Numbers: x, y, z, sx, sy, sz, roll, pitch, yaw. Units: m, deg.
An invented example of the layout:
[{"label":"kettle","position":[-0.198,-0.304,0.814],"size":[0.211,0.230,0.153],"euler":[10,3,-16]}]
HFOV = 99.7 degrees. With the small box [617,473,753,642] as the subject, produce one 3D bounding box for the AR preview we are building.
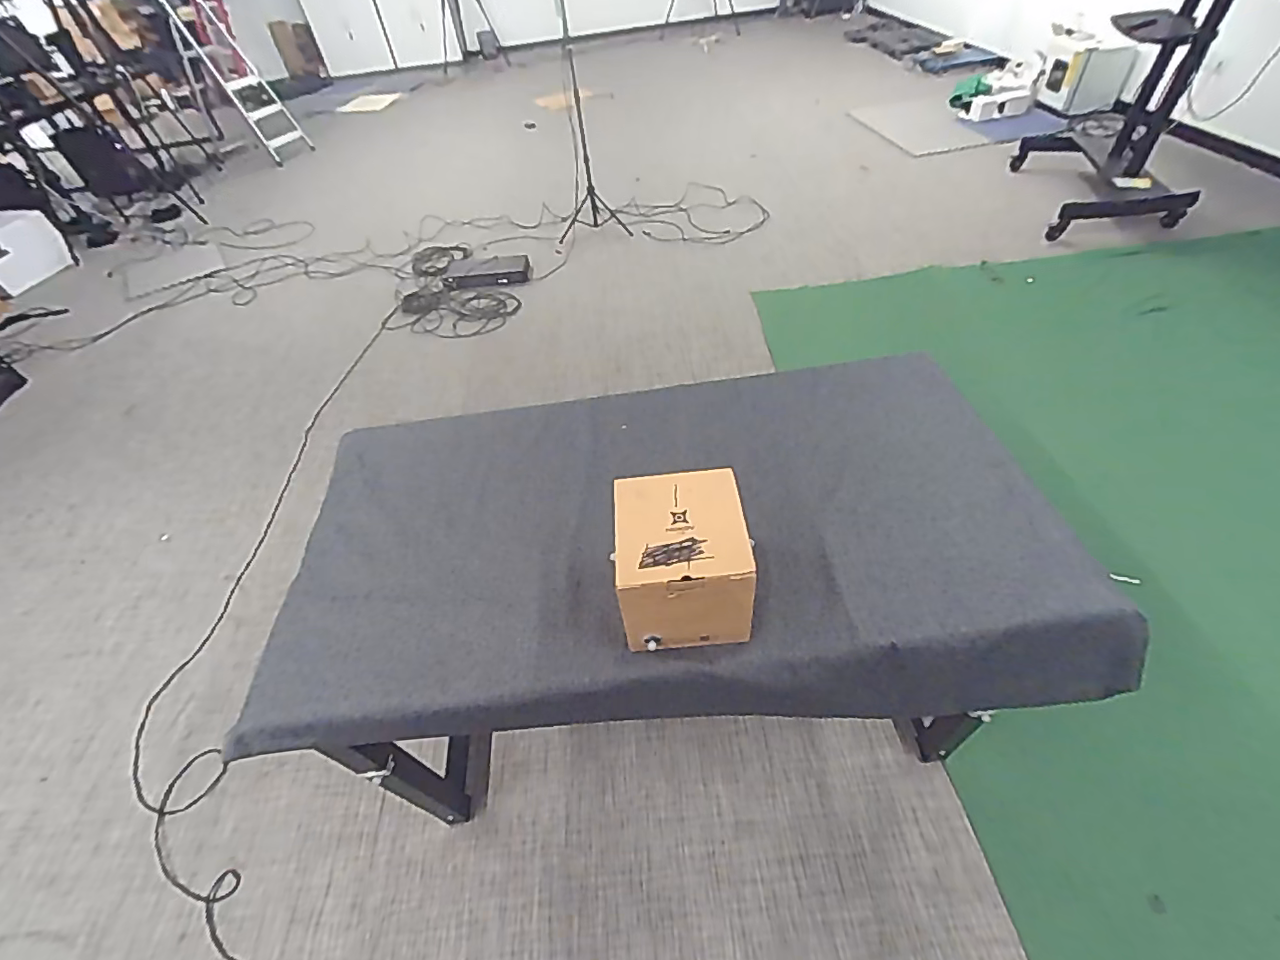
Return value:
[{"label":"small box","position":[0.060,0.114,0.753],"size":[0.168,0.176,0.179],"euler":[-4,46,2]}]
